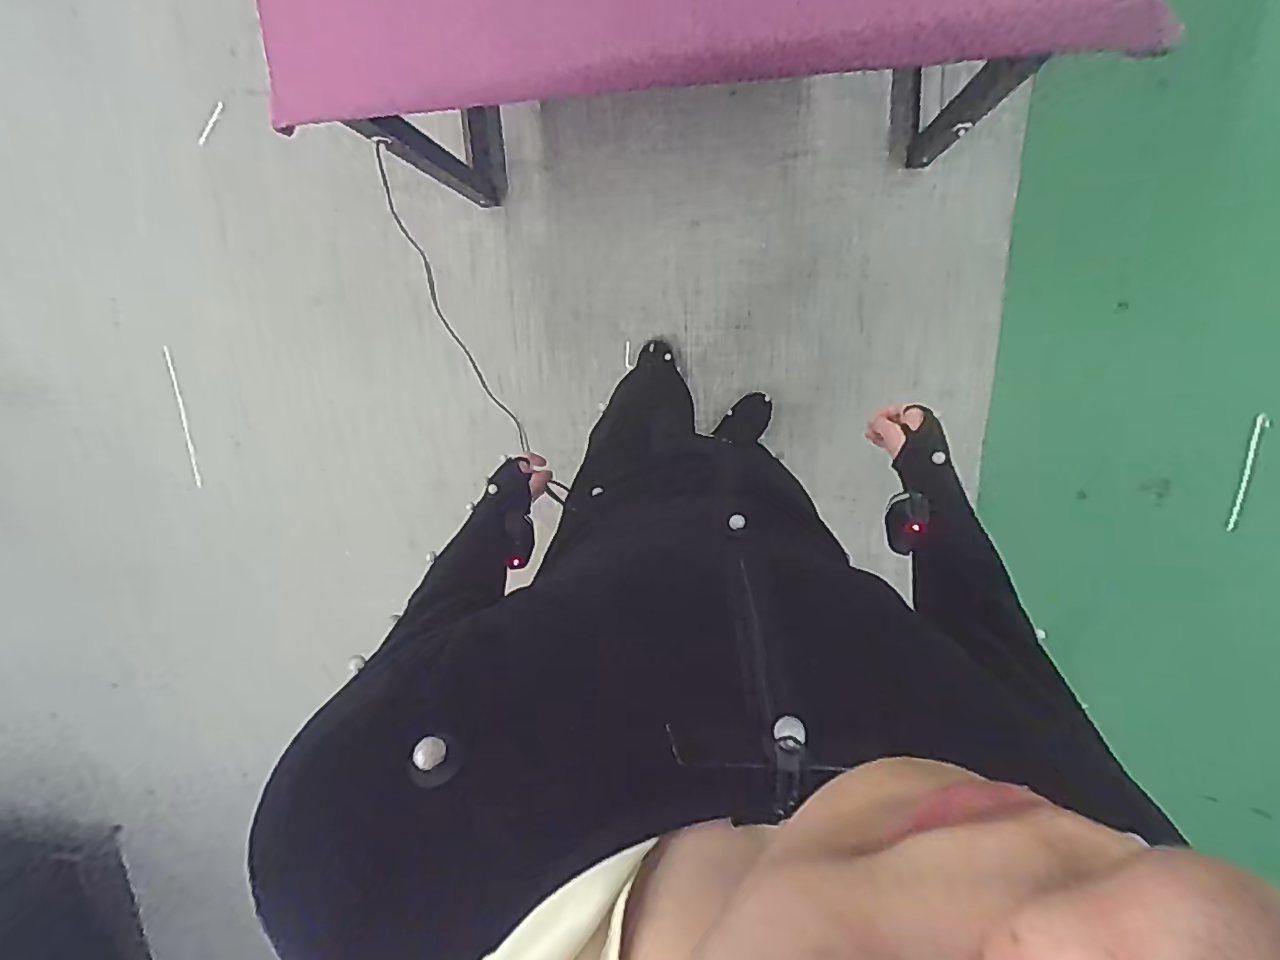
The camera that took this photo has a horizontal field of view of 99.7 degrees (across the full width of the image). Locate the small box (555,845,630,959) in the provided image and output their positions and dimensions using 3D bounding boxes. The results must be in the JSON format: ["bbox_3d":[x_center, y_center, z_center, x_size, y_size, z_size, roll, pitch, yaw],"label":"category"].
[{"bbox_3d":[-0.119,1.098,1.415,0.168,0.176,0.179,1,105,7],"label":"small box"}]
